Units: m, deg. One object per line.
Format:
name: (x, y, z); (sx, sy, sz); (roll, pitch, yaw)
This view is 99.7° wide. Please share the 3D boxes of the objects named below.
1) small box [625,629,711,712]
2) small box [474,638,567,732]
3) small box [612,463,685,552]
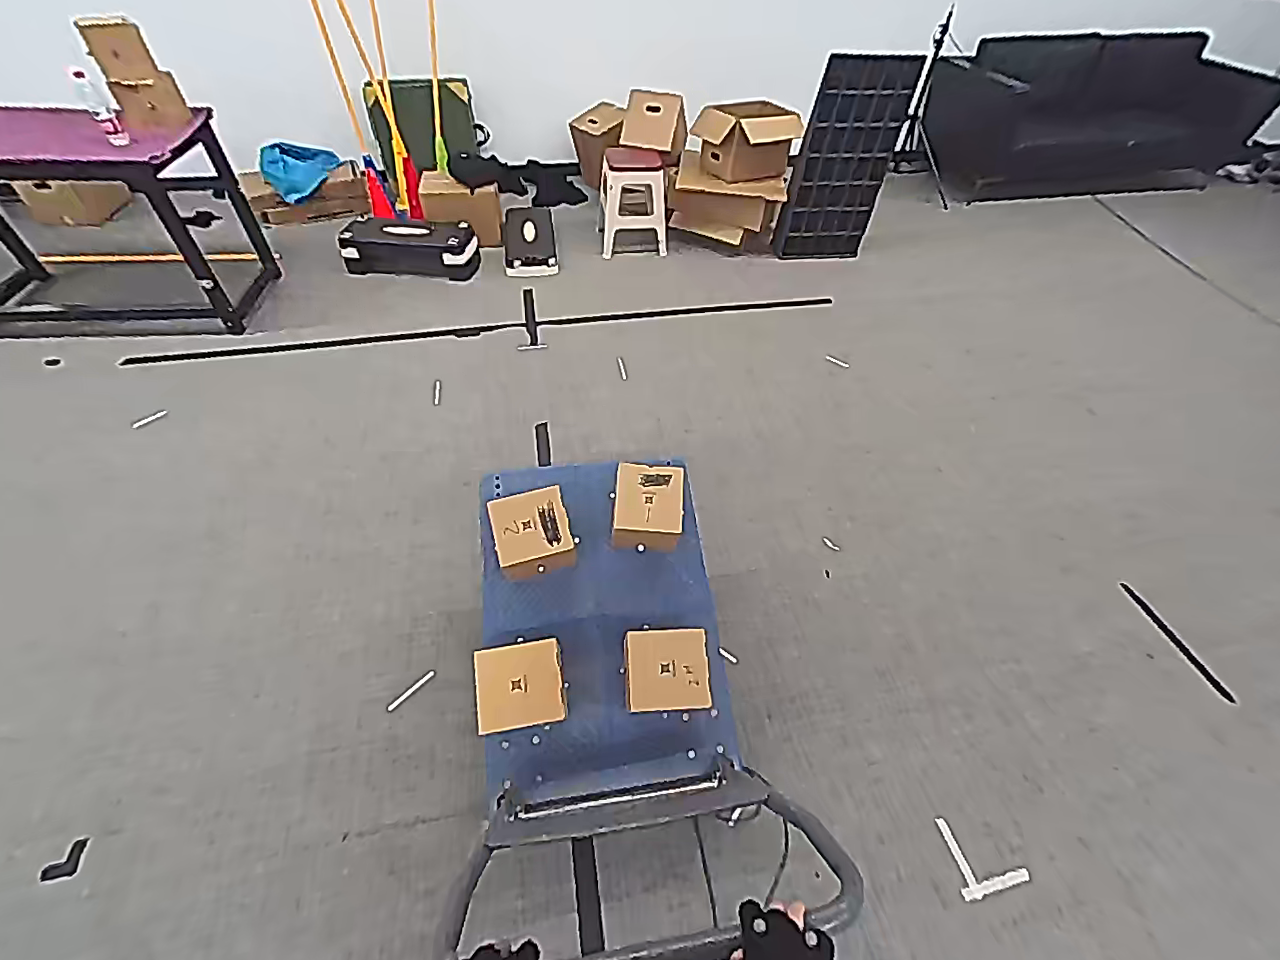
small box: (0.055, 0.438, 1.235); (0.179, 0.176, 0.168); (0, 67, -6)
small box: (-0.260, 0.457, 1.197); (0.179, 0.176, 0.168); (-7, 67, -10)
small box: (0.018, 0.075, 1.390); (0.168, 0.176, 0.179); (5, 67, -3)
